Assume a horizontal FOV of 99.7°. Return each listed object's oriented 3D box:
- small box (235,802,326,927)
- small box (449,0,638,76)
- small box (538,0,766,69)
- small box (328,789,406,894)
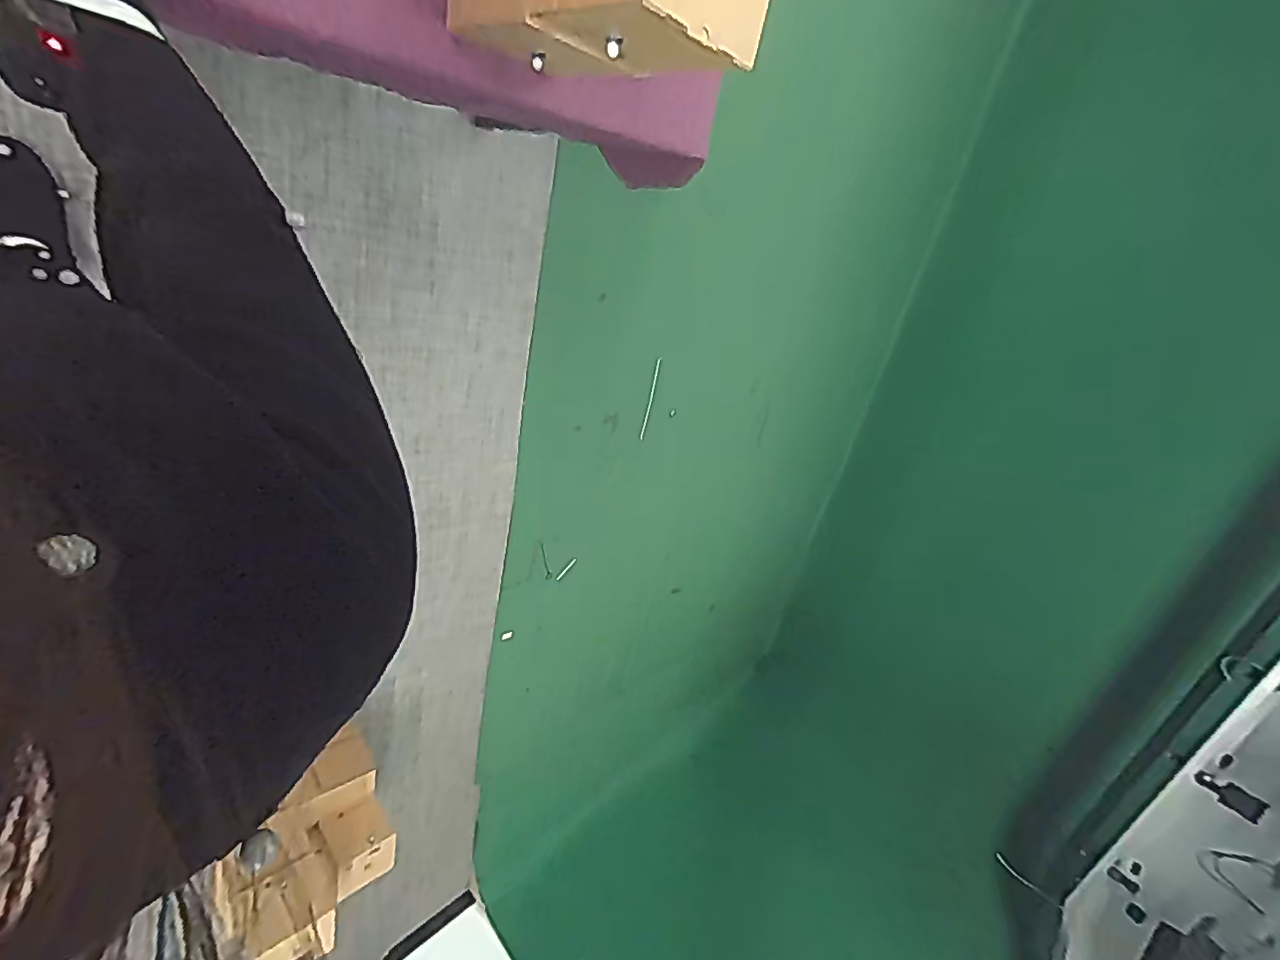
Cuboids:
[{"bbox_3d":[-0.970,1.026,1.457,0.179,0.176,0.168,-13,126,-45],"label":"small box"},{"bbox_3d":[-0.101,-0.585,0.610,0.168,0.176,0.179,-16,126,-44],"label":"small box"},{"bbox_3d":[0.018,-0.524,0.516,0.168,0.176,0.179,-15,127,-44],"label":"small box"},{"bbox_3d":[-0.847,1.107,1.669,0.168,0.176,0.179,-12,126,-46],"label":"small box"}]
